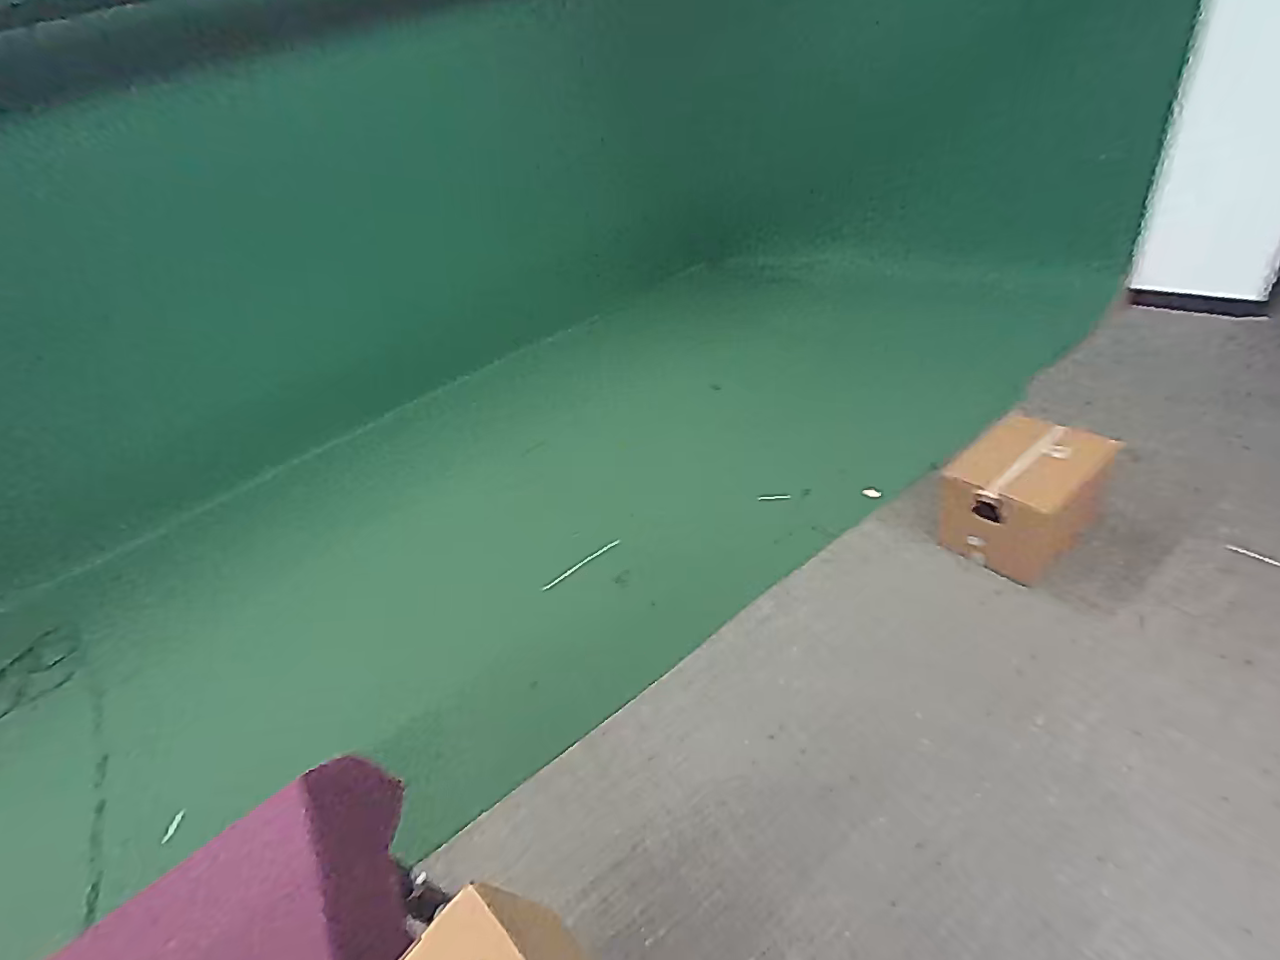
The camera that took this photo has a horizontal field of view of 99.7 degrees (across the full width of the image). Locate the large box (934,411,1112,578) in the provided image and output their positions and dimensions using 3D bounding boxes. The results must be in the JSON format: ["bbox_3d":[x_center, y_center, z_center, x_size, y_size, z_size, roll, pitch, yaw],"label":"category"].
[{"bbox_3d":[1.209,0.036,1.740,0.408,0.320,0.320,-33,38,-19],"label":"large box"}]
